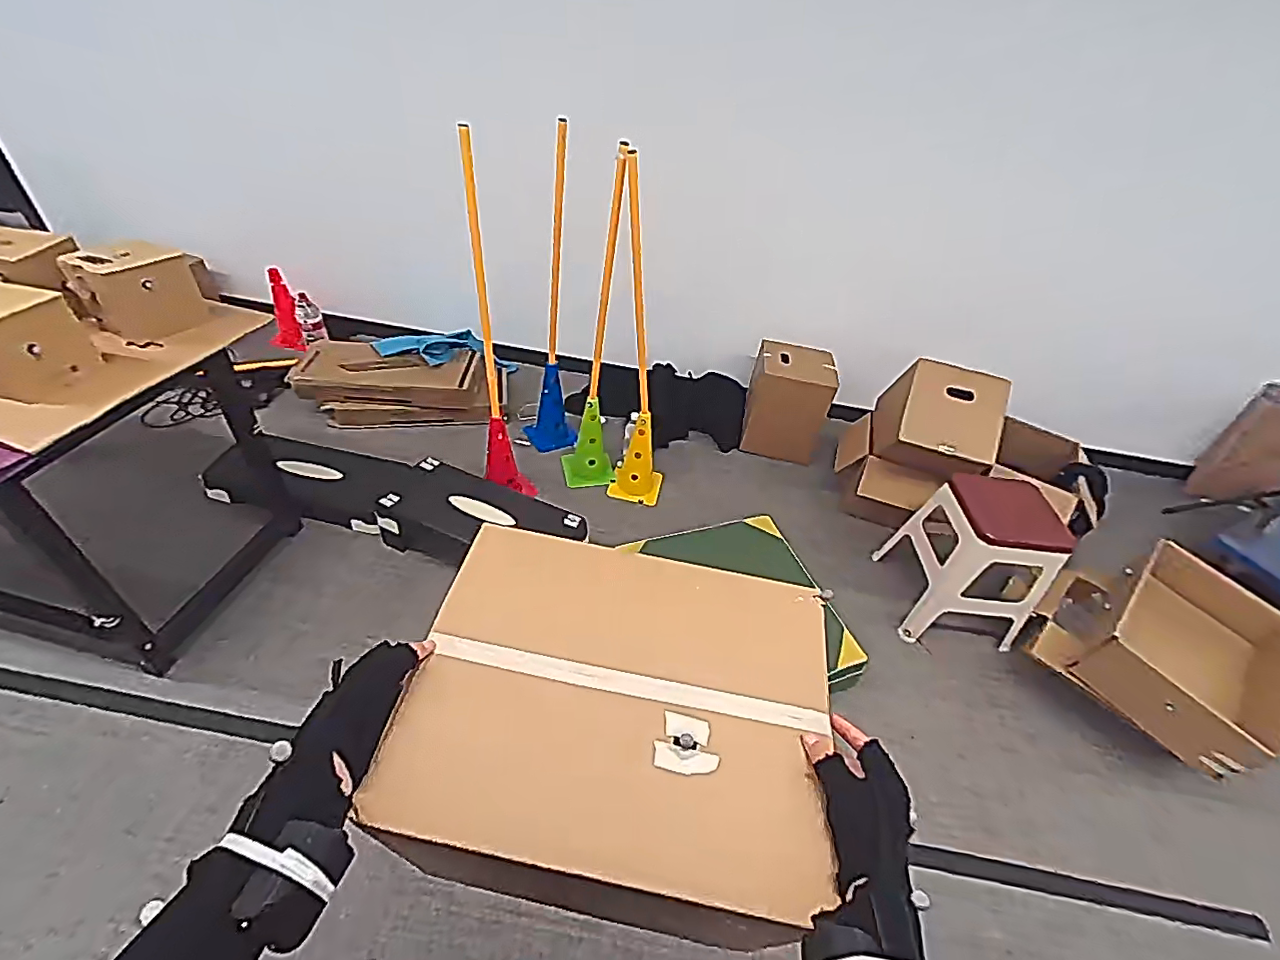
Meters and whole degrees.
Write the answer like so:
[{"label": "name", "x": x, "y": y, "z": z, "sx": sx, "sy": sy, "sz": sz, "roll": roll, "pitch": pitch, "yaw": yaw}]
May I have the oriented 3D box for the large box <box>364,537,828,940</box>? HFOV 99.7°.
[{"label": "large box", "x": -0.032, "y": 0.312, "z": 0.655, "sx": 0.408, "sy": 0.320, "sz": 0.320, "roll": 11, "pitch": 48, "yaw": 3}]
